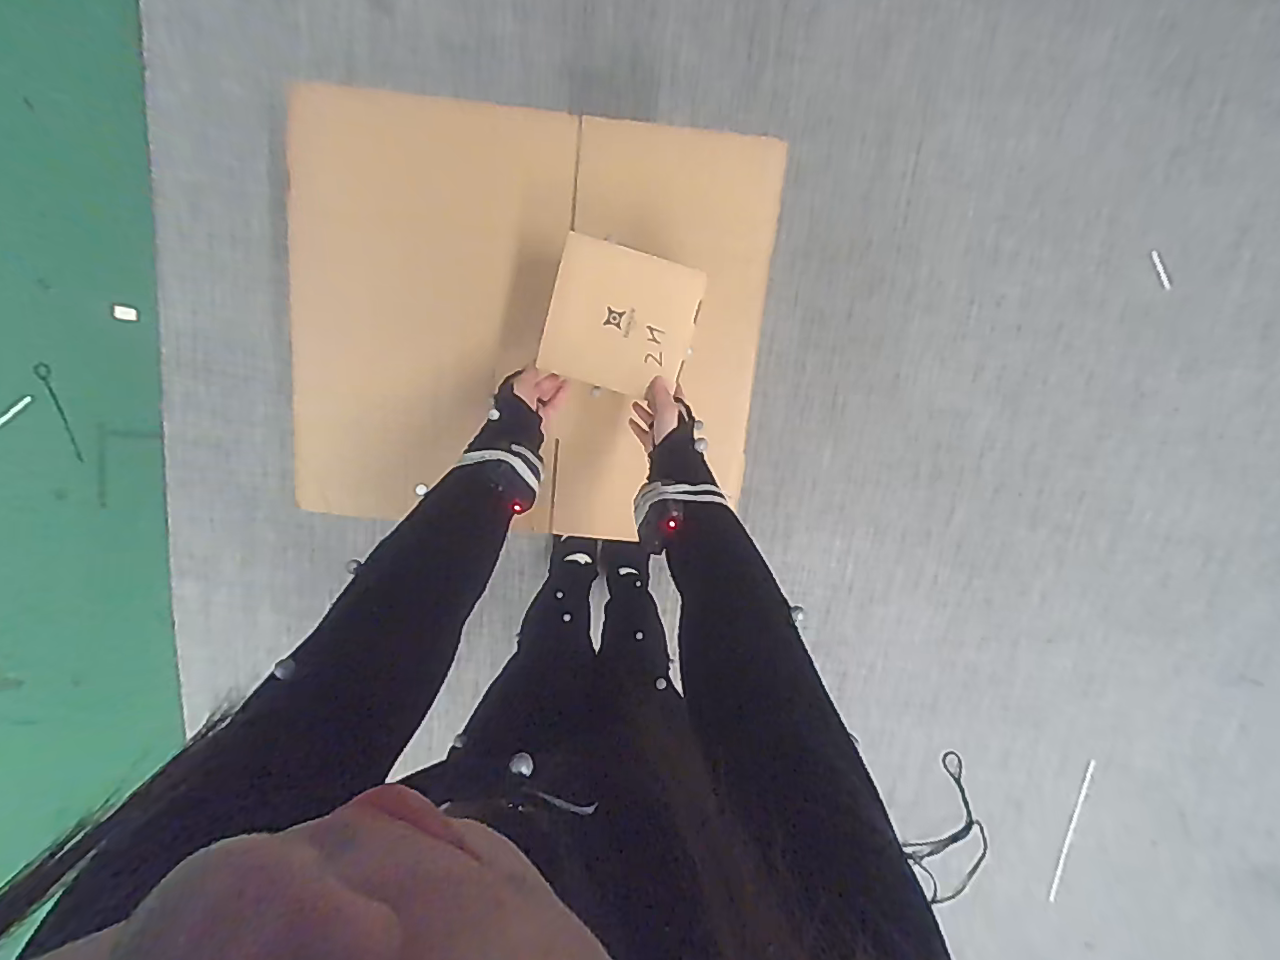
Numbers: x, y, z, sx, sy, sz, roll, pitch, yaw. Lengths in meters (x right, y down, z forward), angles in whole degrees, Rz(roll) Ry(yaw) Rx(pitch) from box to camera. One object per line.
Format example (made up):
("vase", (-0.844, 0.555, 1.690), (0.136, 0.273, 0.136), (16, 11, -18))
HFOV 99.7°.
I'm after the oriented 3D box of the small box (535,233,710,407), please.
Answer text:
("small box", (-0.022, -0.203, 0.727), (0.179, 0.176, 0.168), (17, 101, -3))
